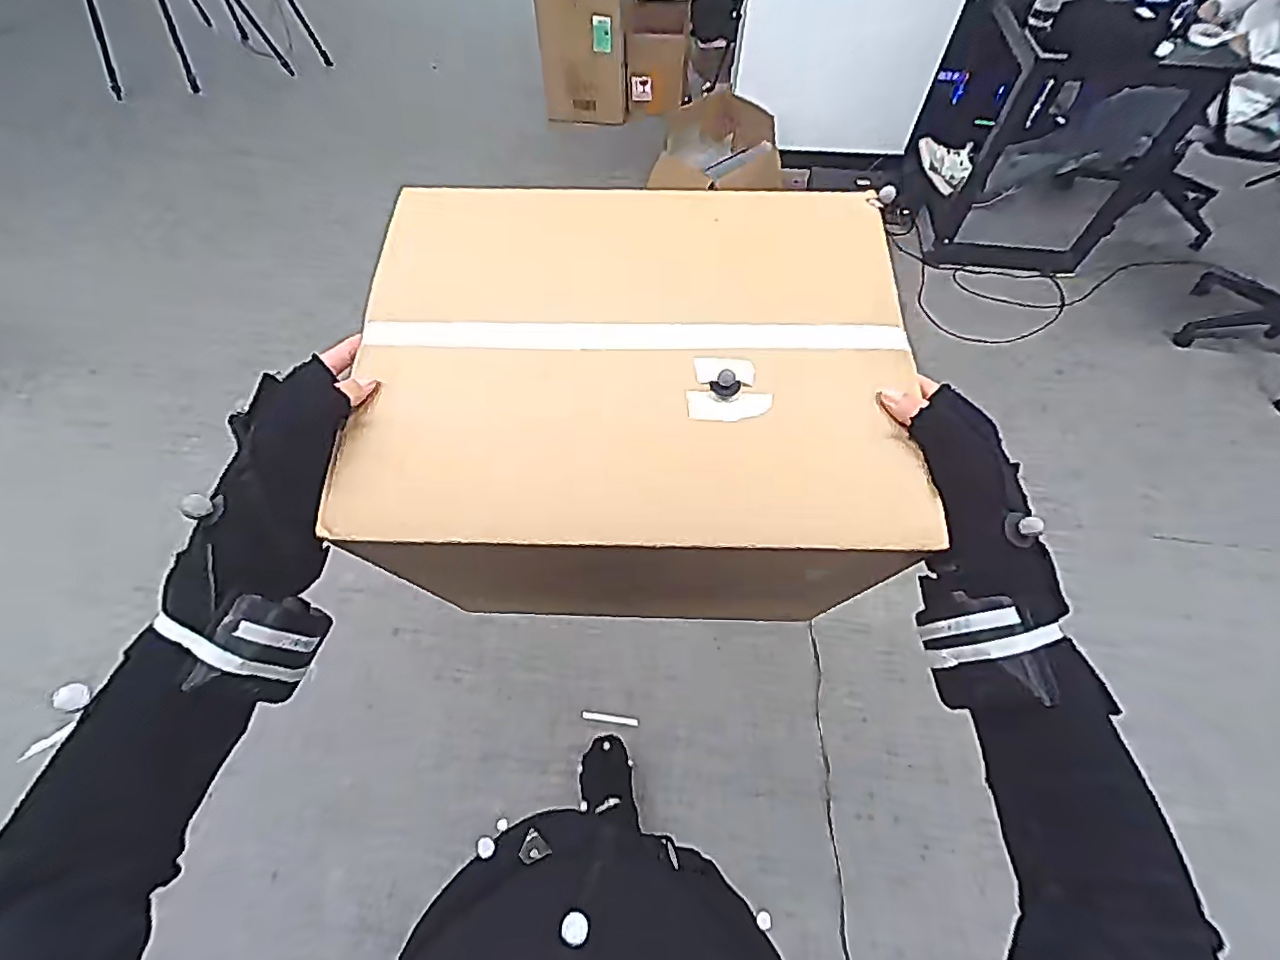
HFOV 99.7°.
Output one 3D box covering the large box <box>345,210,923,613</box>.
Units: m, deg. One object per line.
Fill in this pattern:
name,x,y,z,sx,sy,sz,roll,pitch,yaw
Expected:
large box,-0.004,-0.044,0.561,0.408,0.320,0.320,1,67,1
